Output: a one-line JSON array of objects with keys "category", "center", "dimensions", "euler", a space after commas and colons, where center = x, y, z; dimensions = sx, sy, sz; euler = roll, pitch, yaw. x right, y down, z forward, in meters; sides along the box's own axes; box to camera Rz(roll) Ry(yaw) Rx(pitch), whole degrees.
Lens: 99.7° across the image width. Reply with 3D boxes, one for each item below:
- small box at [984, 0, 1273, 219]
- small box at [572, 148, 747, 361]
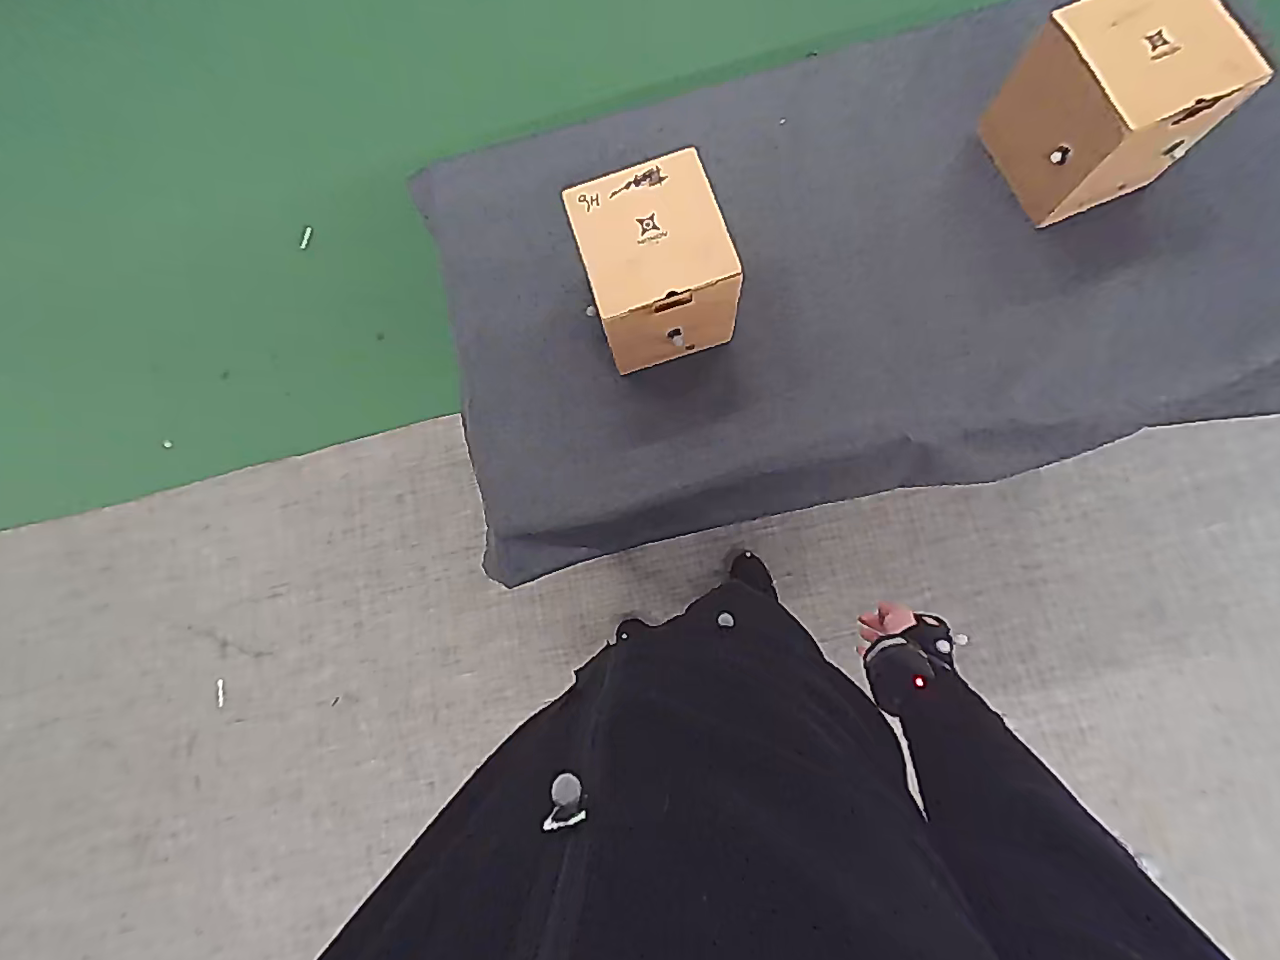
[{"category": "small box", "center": [0.585, -0.463, 0.679], "dimensions": [0.168, 0.176, 0.179], "euler": [-22, 77, 0]}, {"category": "small box", "center": [0.028, -0.271, 0.696], "dimensions": [0.168, 0.176, 0.179], "euler": [-17, 79, 2]}]
